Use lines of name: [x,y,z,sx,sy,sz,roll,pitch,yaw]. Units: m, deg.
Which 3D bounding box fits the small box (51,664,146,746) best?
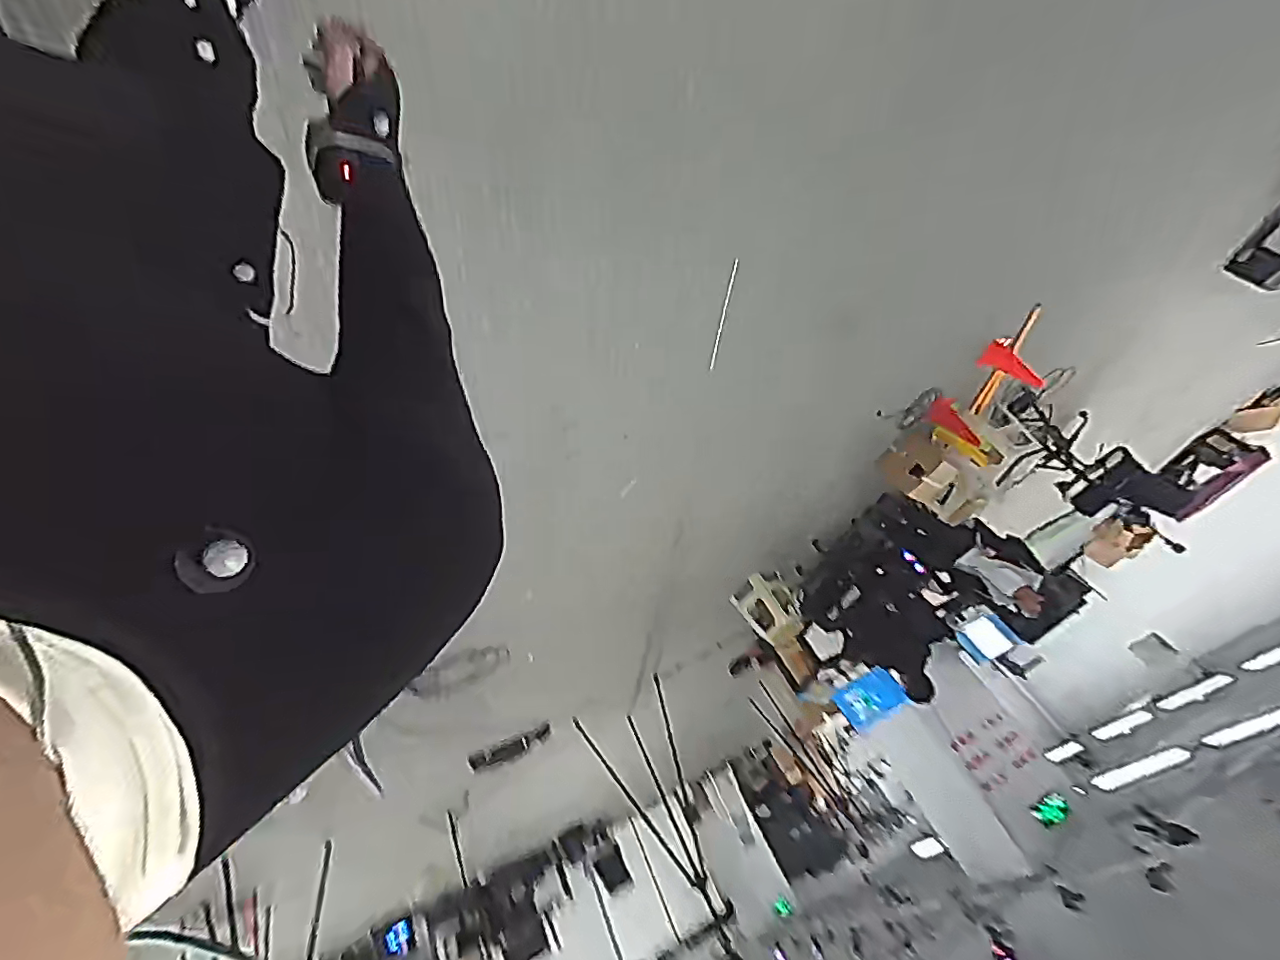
small box: [-1.764,0.731,1.773,0.179,0.176,0.168,-13,141,-25]
